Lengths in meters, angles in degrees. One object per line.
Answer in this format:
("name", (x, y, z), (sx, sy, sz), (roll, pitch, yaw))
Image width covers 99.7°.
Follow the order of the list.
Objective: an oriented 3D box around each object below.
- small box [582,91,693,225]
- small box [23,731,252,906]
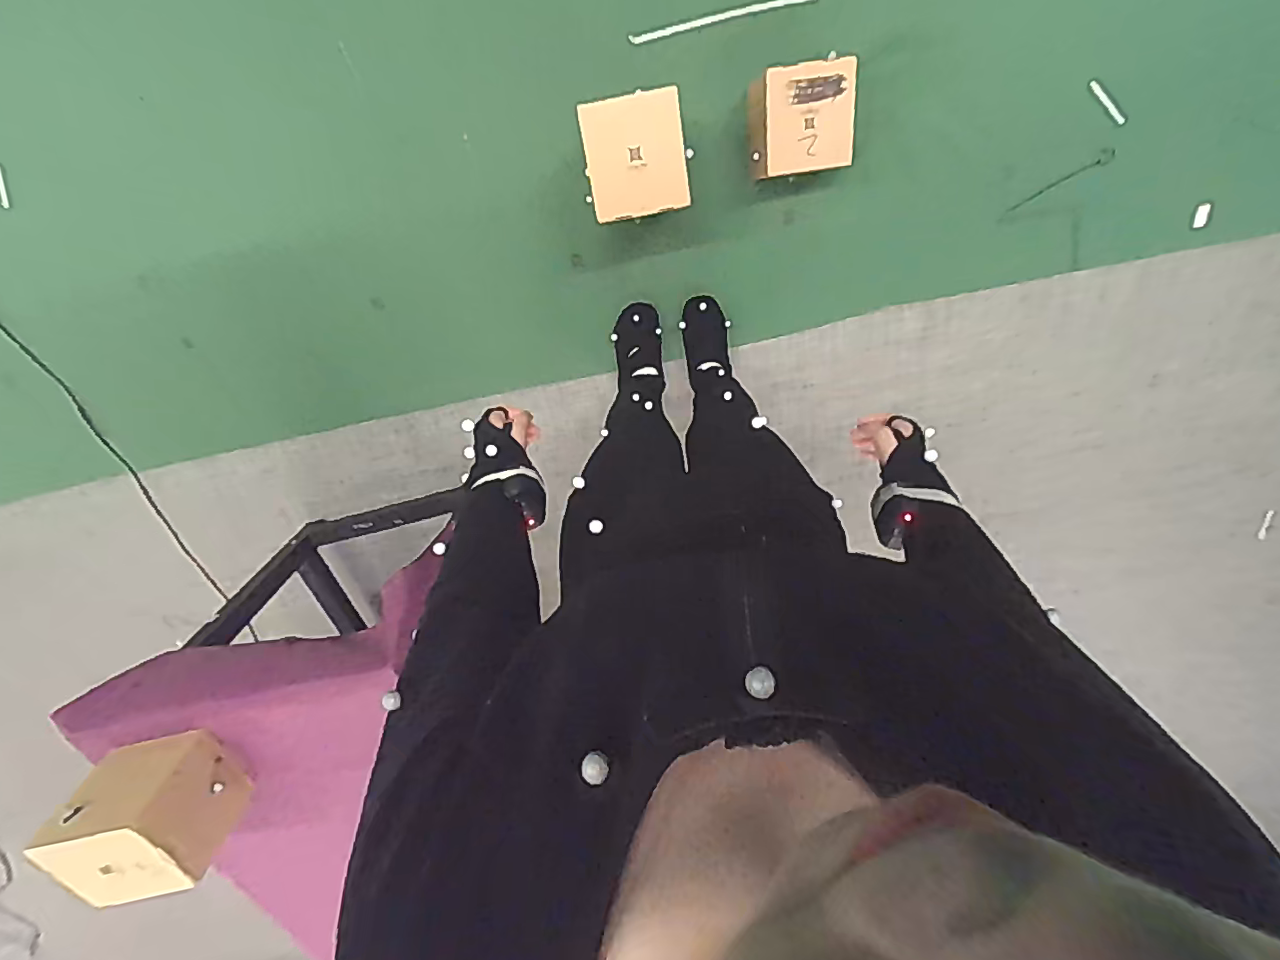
("small box", (-0.003, -0.567, 0.975), (0.168, 0.176, 0.179), (-9, 116, 4))
("small box", (-0.798, 0.545, 0.884), (0.179, 0.176, 0.168), (-13, 117, 2))
